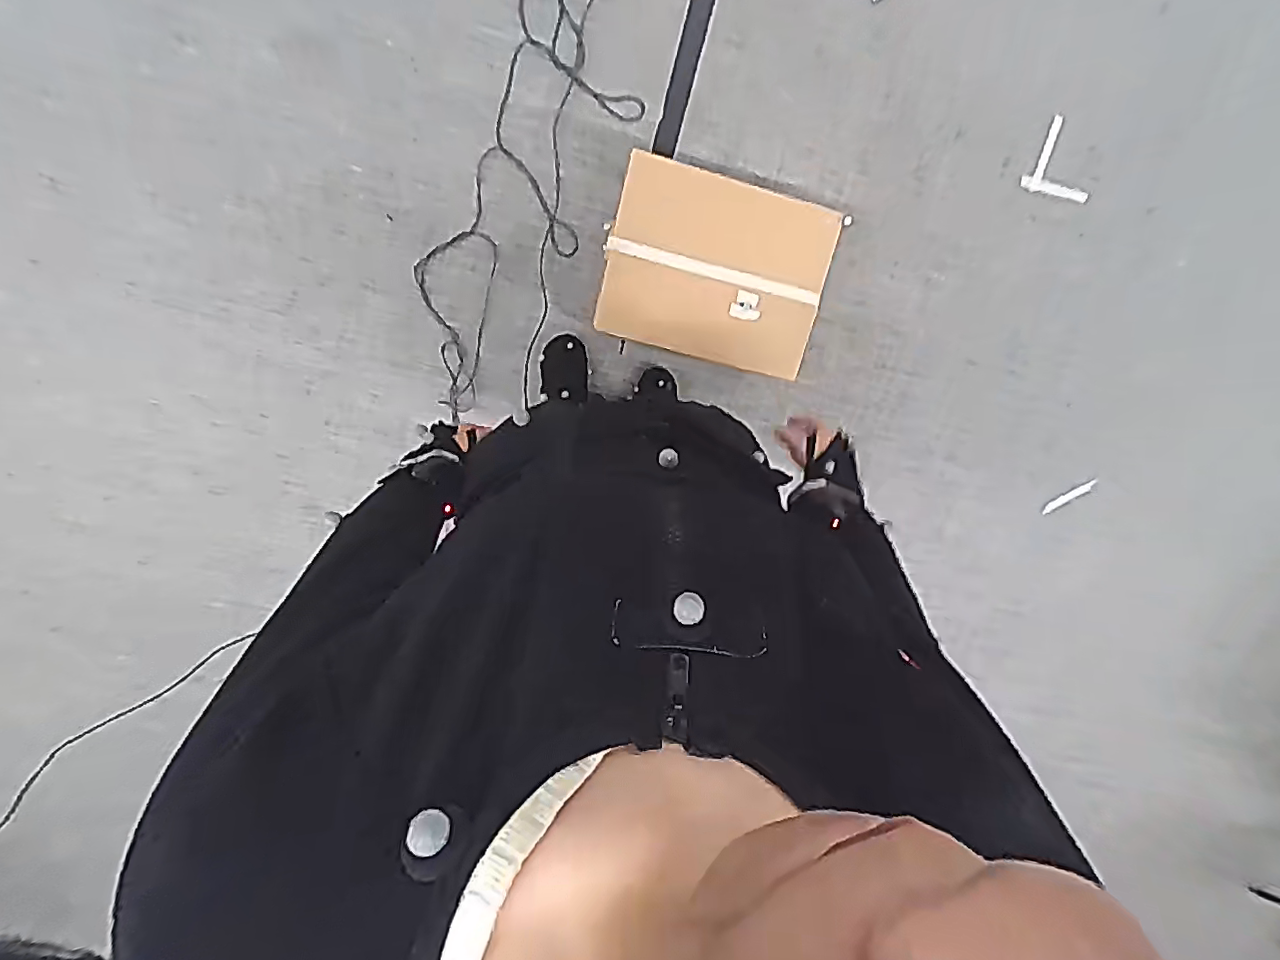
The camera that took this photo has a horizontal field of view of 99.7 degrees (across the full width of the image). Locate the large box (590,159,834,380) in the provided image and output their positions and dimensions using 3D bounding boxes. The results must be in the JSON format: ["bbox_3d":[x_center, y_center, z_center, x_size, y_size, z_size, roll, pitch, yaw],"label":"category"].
[{"bbox_3d":[0.118,-0.415,1.143,0.408,0.320,0.320,12,104,-9],"label":"large box"}]
